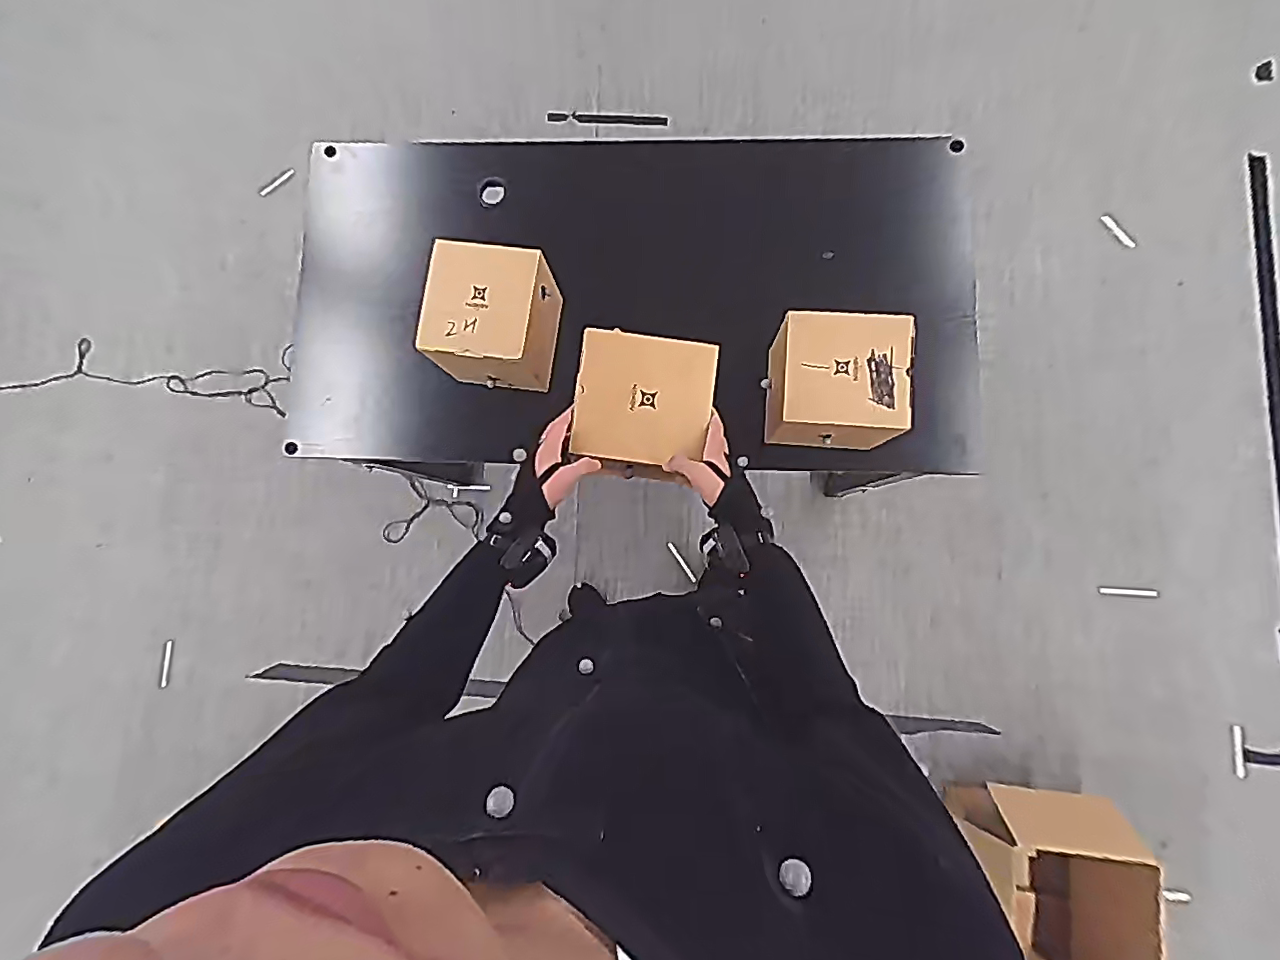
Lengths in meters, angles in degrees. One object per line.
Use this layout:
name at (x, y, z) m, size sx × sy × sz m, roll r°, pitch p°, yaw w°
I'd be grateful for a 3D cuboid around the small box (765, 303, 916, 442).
small box at (0.297, -0.155, 0.829) m, size 0.179 × 0.176 × 0.168 m, roll 4°, pitch 84°, yaw 5°

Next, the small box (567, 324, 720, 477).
small box at (0.003, -0.099, 0.752) m, size 0.179 × 0.176 × 0.168 m, roll 7°, pitch 85°, yaw -1°

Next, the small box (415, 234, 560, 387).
small box at (-0.234, -0.265, 0.875) m, size 0.168 × 0.176 × 0.179 m, roll 8°, pitch 85°, yaw 5°
